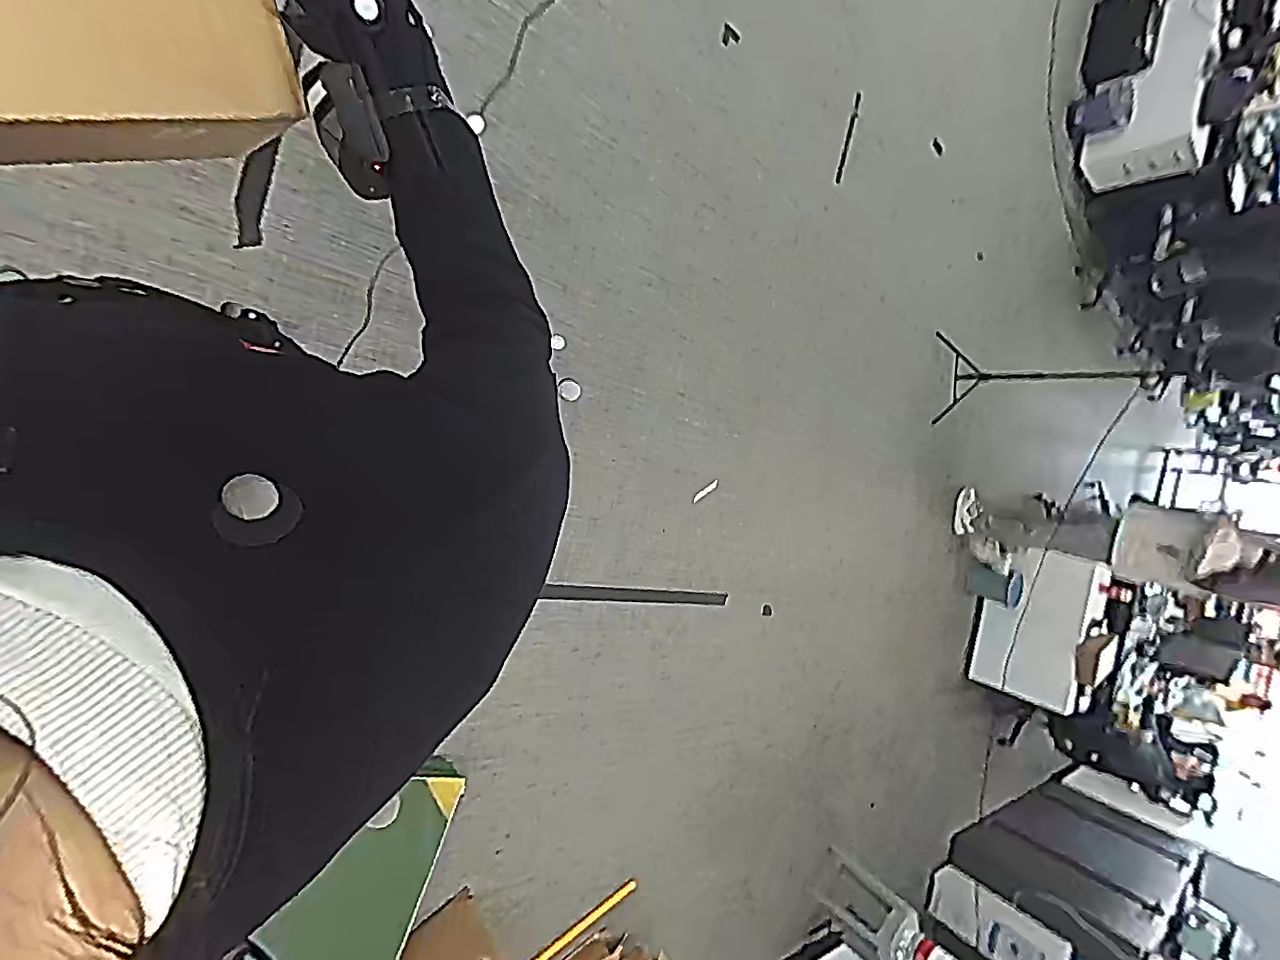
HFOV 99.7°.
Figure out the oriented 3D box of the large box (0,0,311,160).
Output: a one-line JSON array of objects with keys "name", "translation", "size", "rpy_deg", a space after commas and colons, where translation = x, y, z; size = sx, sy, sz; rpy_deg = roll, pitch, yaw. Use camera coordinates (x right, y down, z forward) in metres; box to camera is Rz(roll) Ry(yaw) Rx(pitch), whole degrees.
[{"name": "large box", "translation": [-0.480, -0.358, 0.290], "size": [0.408, 0.320, 0.320], "rpy_deg": [-26, 127, -33]}]
